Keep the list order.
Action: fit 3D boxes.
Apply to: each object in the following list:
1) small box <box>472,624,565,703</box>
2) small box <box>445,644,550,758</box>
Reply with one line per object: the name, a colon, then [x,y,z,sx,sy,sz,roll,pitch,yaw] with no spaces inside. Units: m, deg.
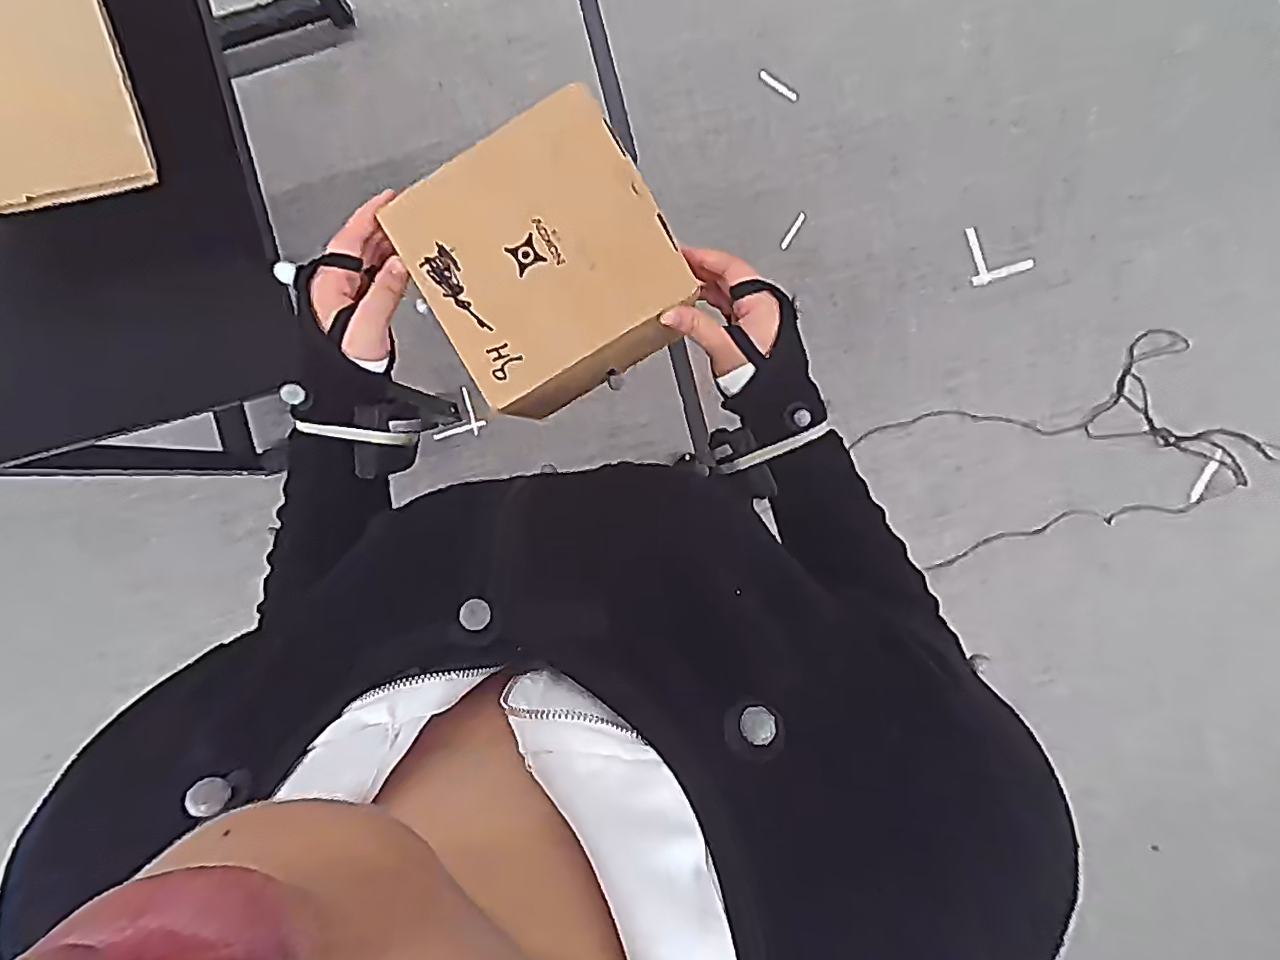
small box: [-0.315,0.504,1.434,0.179,0.176,0.168,-19,91,0]
small box: [-0.323,0.508,1.271,0.179,0.176,0.168,-21,90,2]
